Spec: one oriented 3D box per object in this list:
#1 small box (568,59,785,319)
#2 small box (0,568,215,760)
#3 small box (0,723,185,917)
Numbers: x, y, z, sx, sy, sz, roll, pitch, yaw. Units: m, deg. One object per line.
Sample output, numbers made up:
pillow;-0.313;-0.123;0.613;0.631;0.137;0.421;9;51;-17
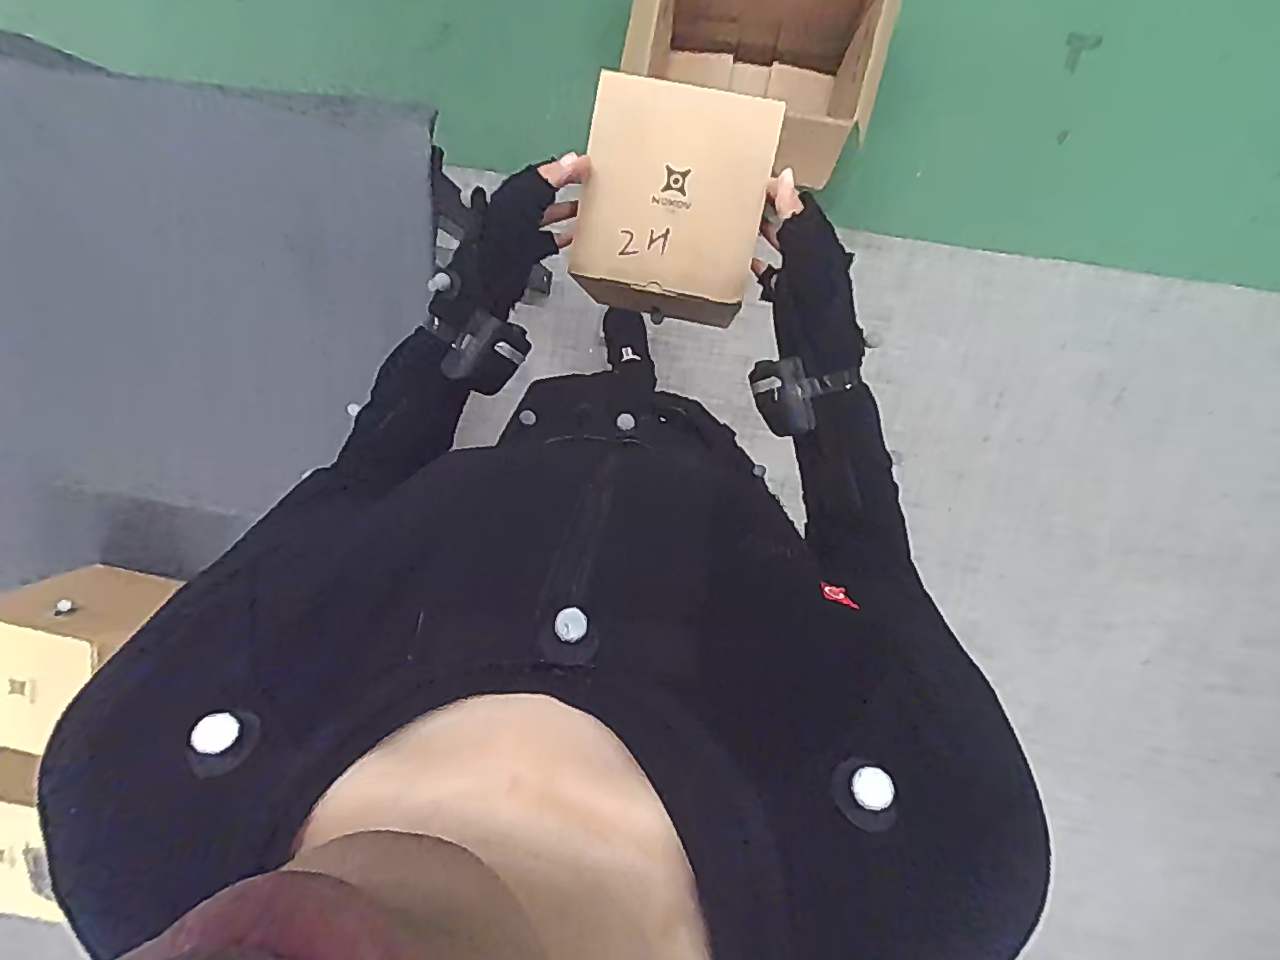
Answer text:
small box;0.035;-0.278;0.558;0.168;0.176;0.179;12;101;3
small box;-0.721;0.229;0.718;0.179;0.176;0.168;12;100;0
small box;-0.789;0.456;0.760;0.179;0.176;0.168;9;100;2
